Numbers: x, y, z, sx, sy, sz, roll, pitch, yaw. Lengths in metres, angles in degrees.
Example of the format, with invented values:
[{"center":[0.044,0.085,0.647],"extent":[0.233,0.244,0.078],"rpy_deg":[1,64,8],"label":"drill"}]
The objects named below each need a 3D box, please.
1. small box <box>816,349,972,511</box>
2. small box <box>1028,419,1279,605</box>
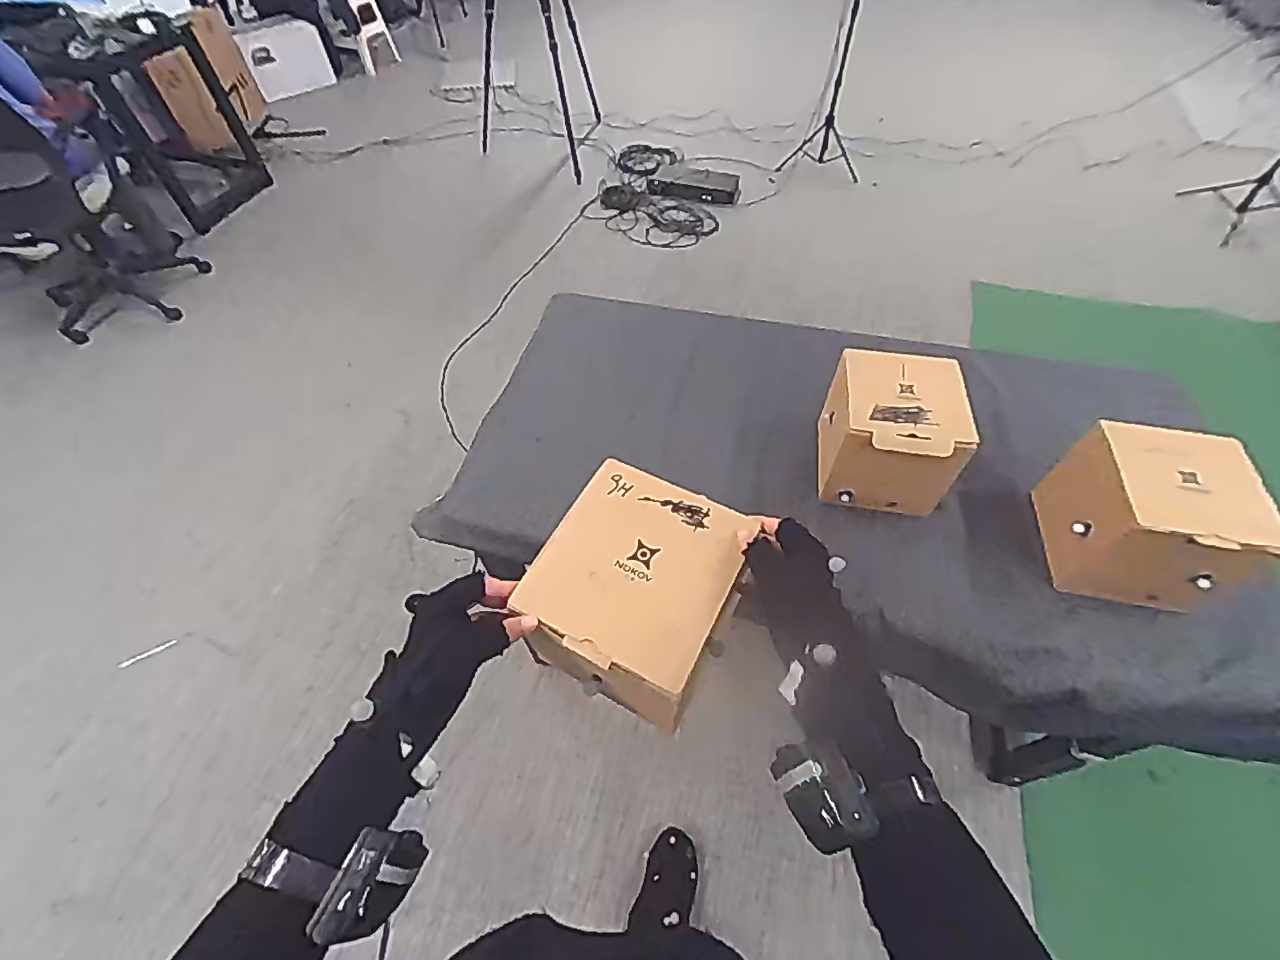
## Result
[{"center":[0.371,-0.073,0.825],"extent":[0.168,0.176,0.179],"rpy_deg":[8,53,7],"label":"small box"},{"center":[0.668,0.046,0.727],"extent":[0.168,0.176,0.179],"rpy_deg":[9,52,8],"label":"small box"}]
